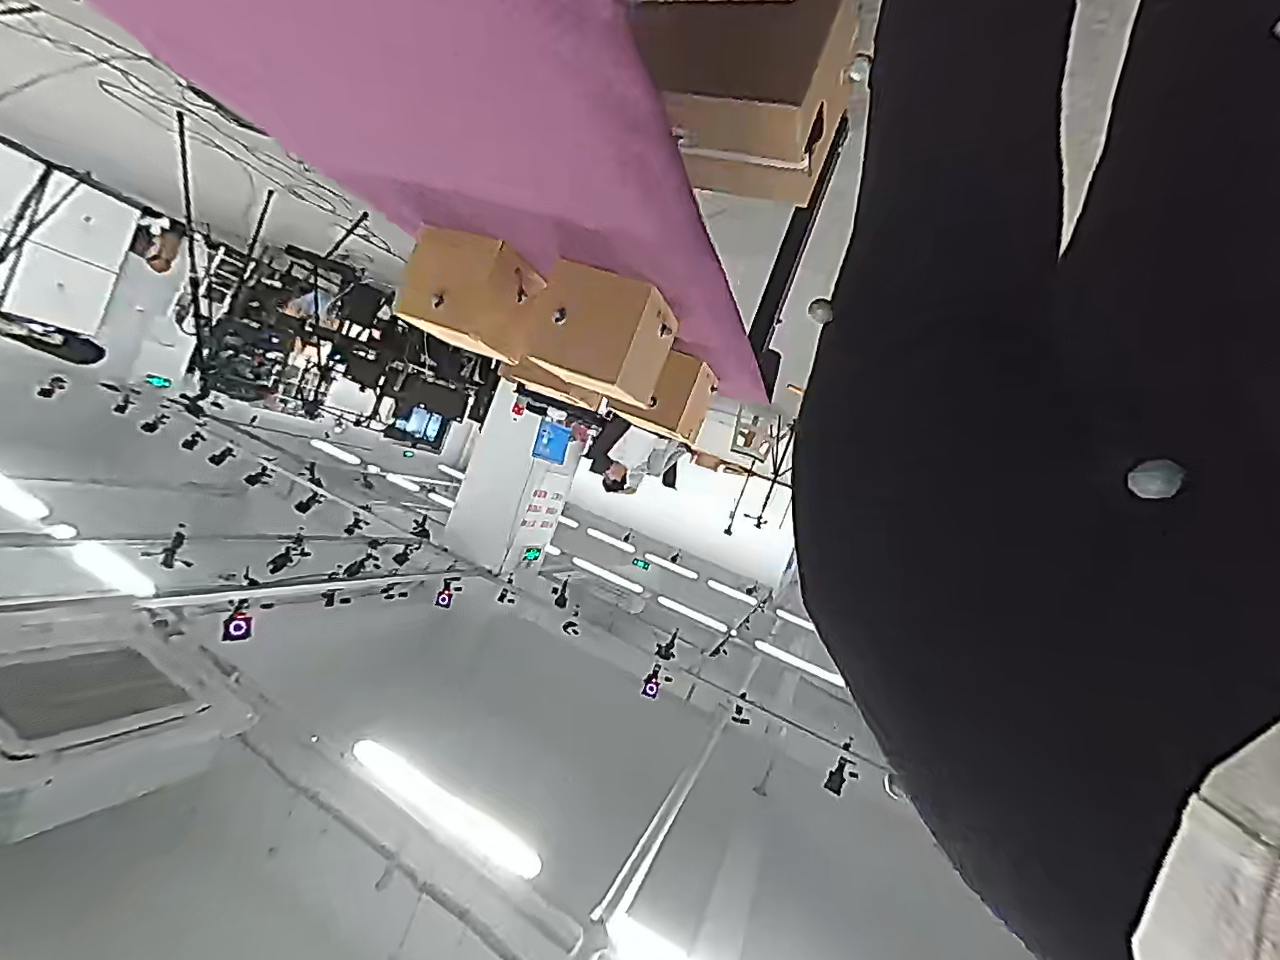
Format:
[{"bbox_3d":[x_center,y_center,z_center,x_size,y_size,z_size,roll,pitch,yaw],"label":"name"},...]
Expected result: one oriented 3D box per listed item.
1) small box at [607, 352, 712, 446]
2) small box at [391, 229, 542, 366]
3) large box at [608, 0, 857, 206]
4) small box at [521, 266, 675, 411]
[{"bbox_3d":[0.054,-0.196,1.250,0.179,0.176,0.168,23,-179,21],"label":"small box"},{"bbox_3d":[-0.308,-0.332,0.989,0.179,0.176,0.168,20,180,18],"label":"small box"},{"bbox_3d":[0.209,-0.845,1.151,0.408,0.320,0.320,22,-179,20],"label":"large box"},{"bbox_3d":[-0.063,-0.236,0.909,0.179,0.176,0.168,22,-178,18],"label":"small box"}]
